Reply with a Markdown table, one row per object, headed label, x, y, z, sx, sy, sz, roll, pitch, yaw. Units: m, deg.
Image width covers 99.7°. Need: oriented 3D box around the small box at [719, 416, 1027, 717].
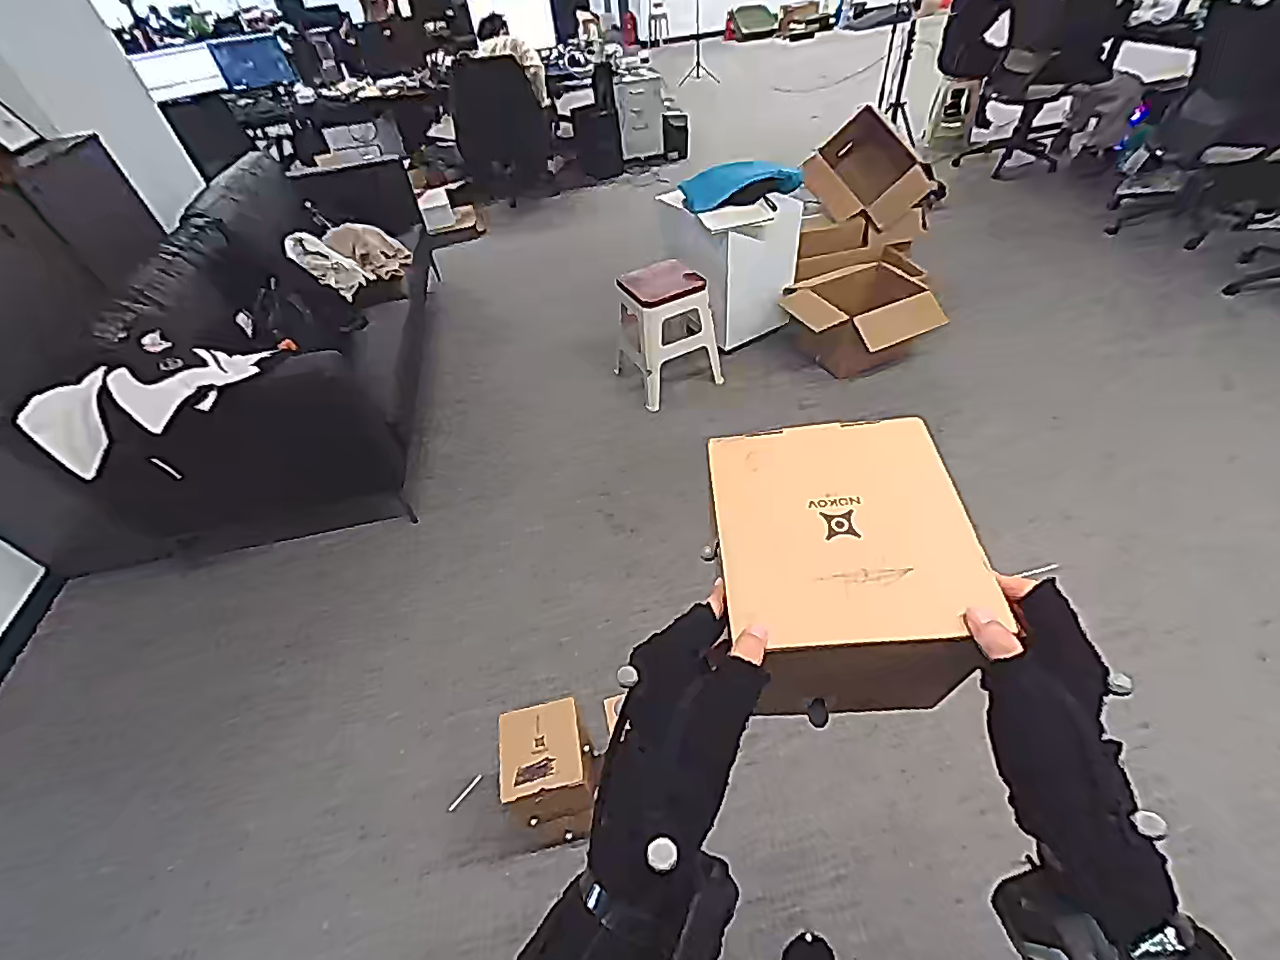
| label | x | y | z | sx | sy | sz | roll | pitch | yaw |
| --- | --- | --- | --- | --- | --- | --- | --- | --- | --- |
| small box | 0.153 | 0.074 | 0.432 | 0.168 | 0.176 | 0.179 | -6 | 53 | 6 |
